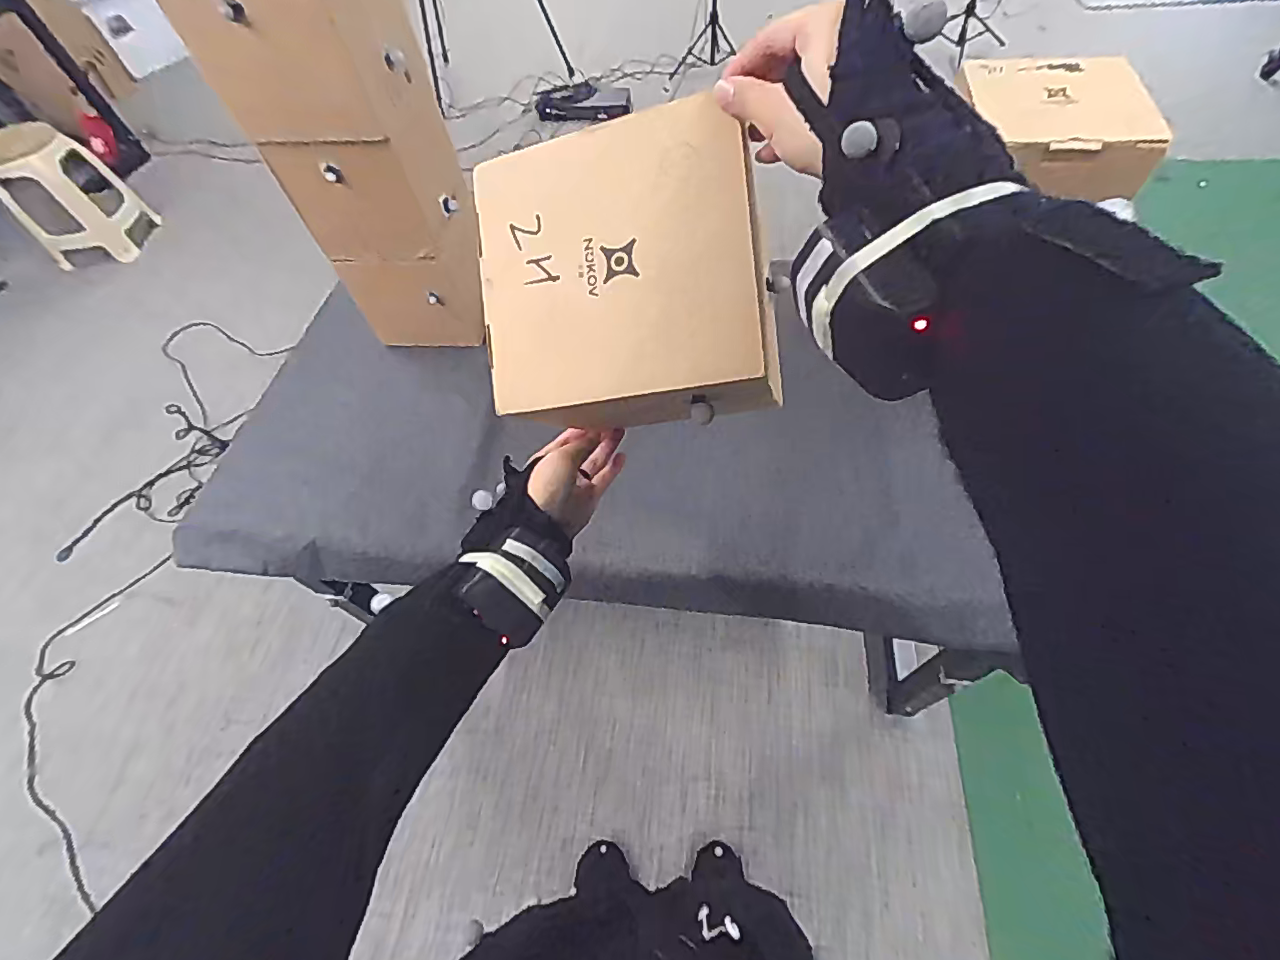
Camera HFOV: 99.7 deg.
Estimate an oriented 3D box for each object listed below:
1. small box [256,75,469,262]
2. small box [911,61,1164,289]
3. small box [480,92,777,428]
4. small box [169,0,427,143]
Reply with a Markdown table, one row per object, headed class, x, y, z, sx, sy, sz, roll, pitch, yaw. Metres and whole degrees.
| class | x | y | z | sx | sy | sz | roll | pitch | yaw |
| --- | --- | --- | --- | --- | --- | --- | --- | --- | --- |
| small box | -0.360 | -0.420 | 0.740 | 0.179 | 0.176 | 0.168 | 2 | 60 | 4 |
| small box | 0.429 | -0.343 | 0.622 | 0.168 | 0.176 | 0.179 | 7 | 60 | 9 |
| small box | 0.007 | -0.133 | 0.403 | 0.179 | 0.176 | 0.168 | -5 | 89 | 18 |
| small box | -0.368 | -0.498 | 0.595 | 0.179 | 0.176 | 0.168 | 3 | 60 | 5 |
